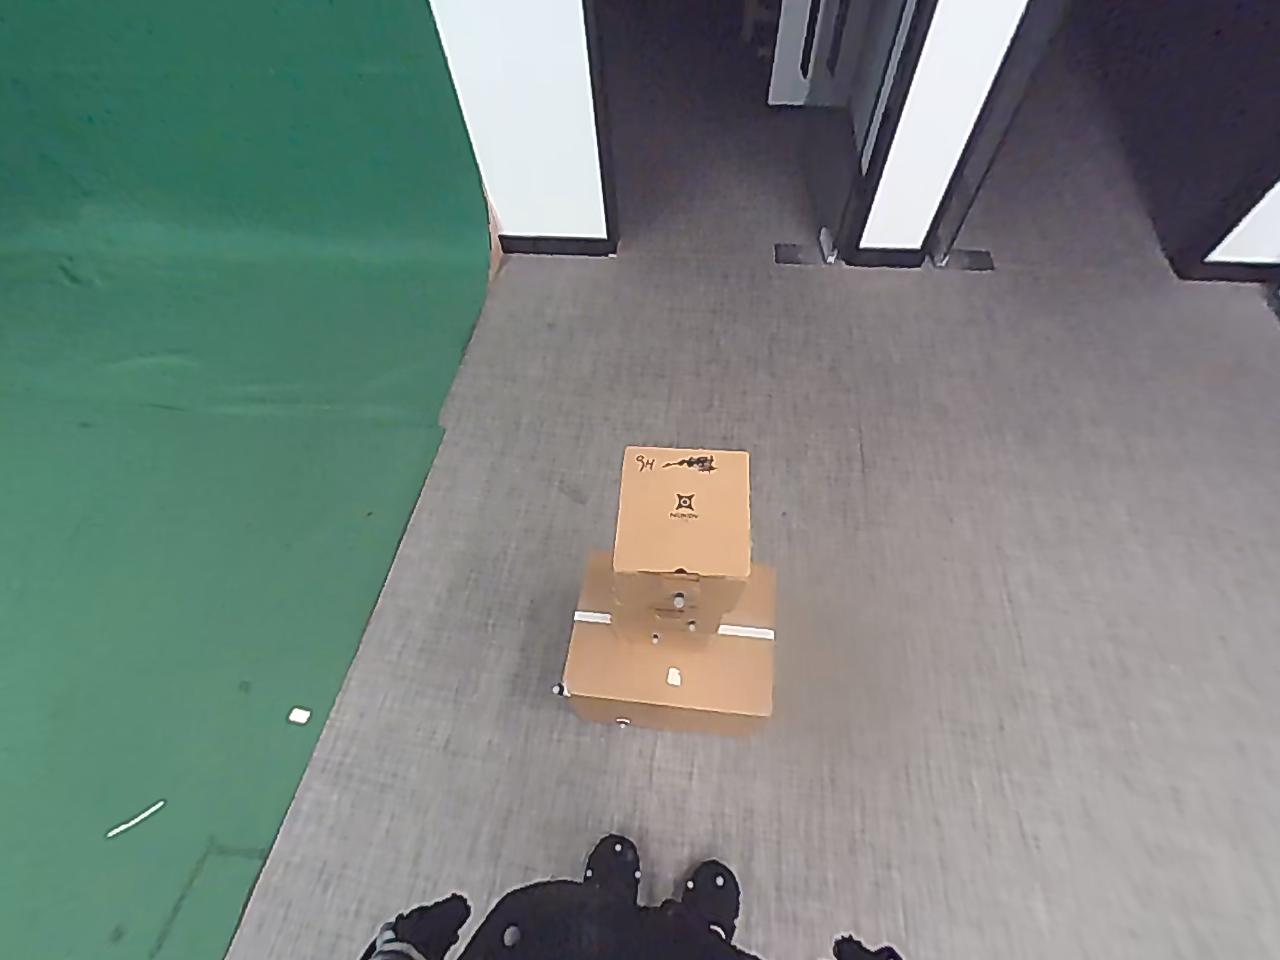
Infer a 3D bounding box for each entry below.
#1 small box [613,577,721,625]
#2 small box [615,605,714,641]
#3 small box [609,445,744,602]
[{"bbox_3d":[0.052,0.139,0.905,0.168,0.176,0.179,2,63,4],"label":"small box"},{"bbox_3d":[0.054,0.212,1.050,0.179,0.176,0.168,4,65,6],"label":"small box"},{"bbox_3d":[0.056,0.068,0.758,0.168,0.176,0.179,2,65,5],"label":"small box"}]
